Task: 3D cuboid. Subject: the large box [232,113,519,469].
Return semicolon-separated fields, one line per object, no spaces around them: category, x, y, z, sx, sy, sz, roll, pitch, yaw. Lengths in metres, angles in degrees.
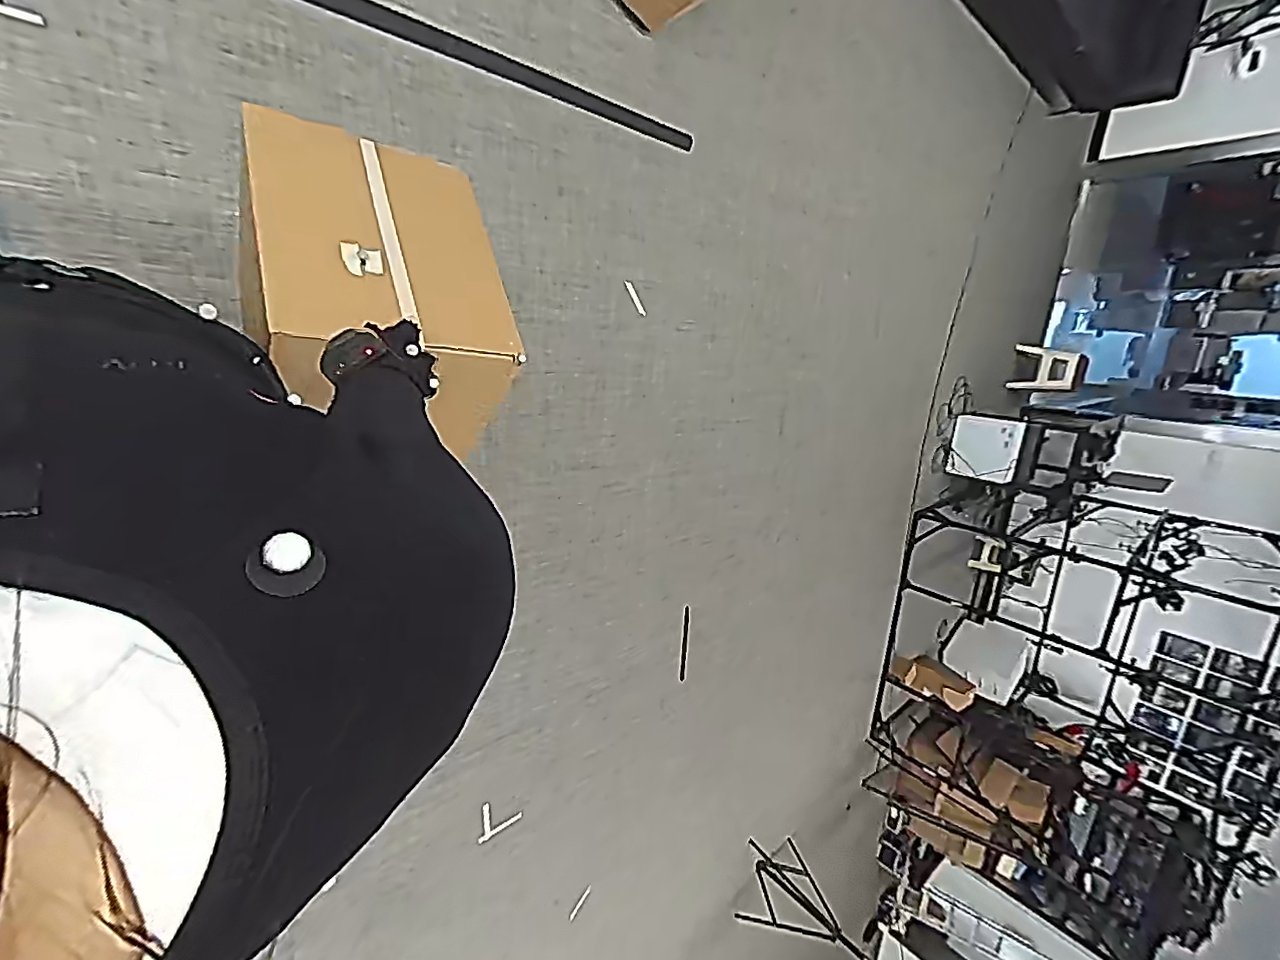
large box;-0.445;-0.266;0.871;0.320;0.320;0.408;-4;65;-39
